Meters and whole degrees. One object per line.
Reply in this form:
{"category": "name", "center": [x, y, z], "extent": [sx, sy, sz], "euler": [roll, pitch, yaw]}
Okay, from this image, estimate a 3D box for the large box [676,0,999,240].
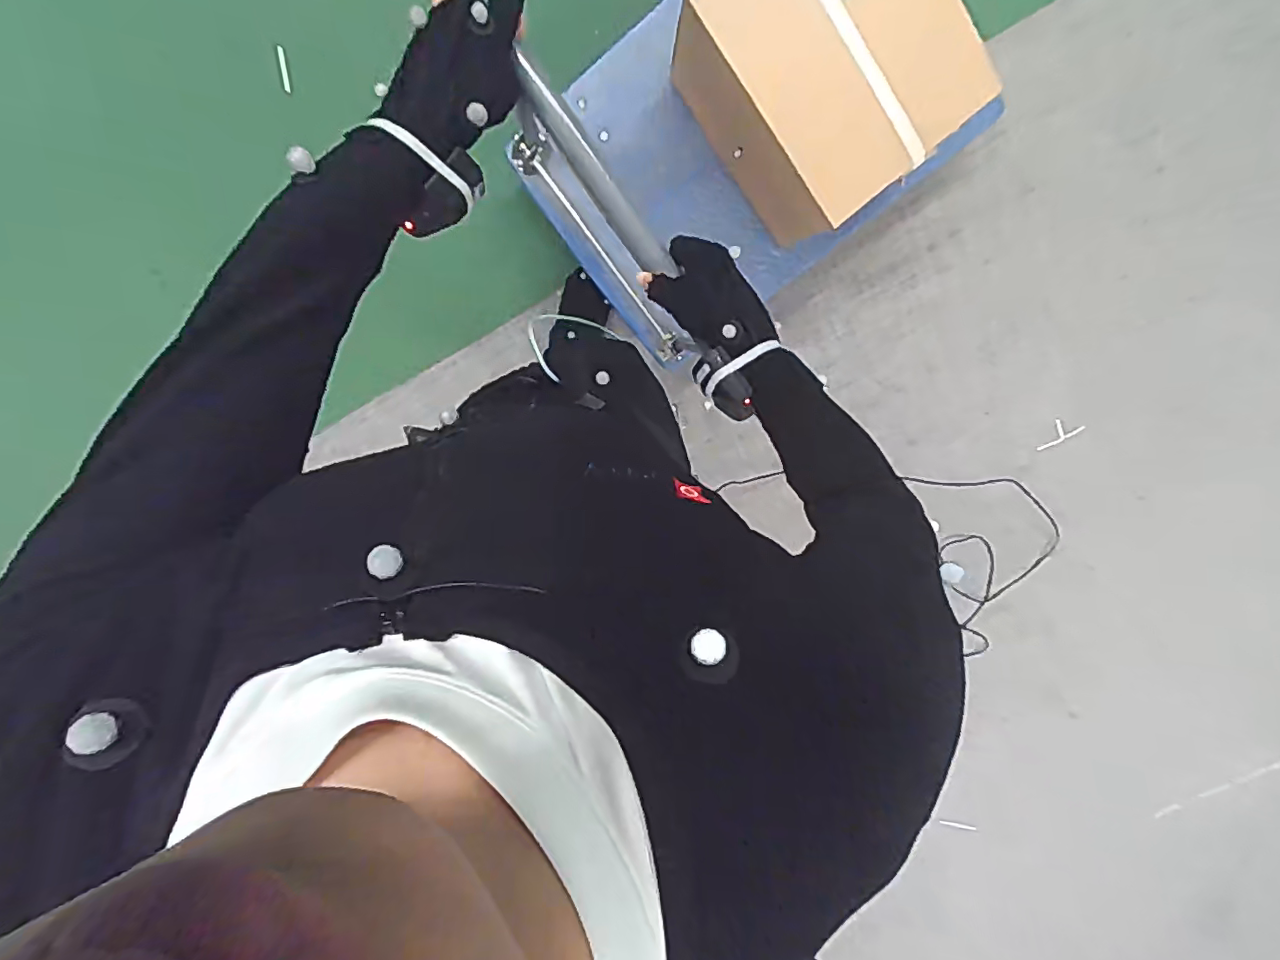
{"category": "large box", "center": [0.308, -0.701, 0.948], "extent": [0.320, 0.320, 0.408], "euler": [-38, 104, 10]}
